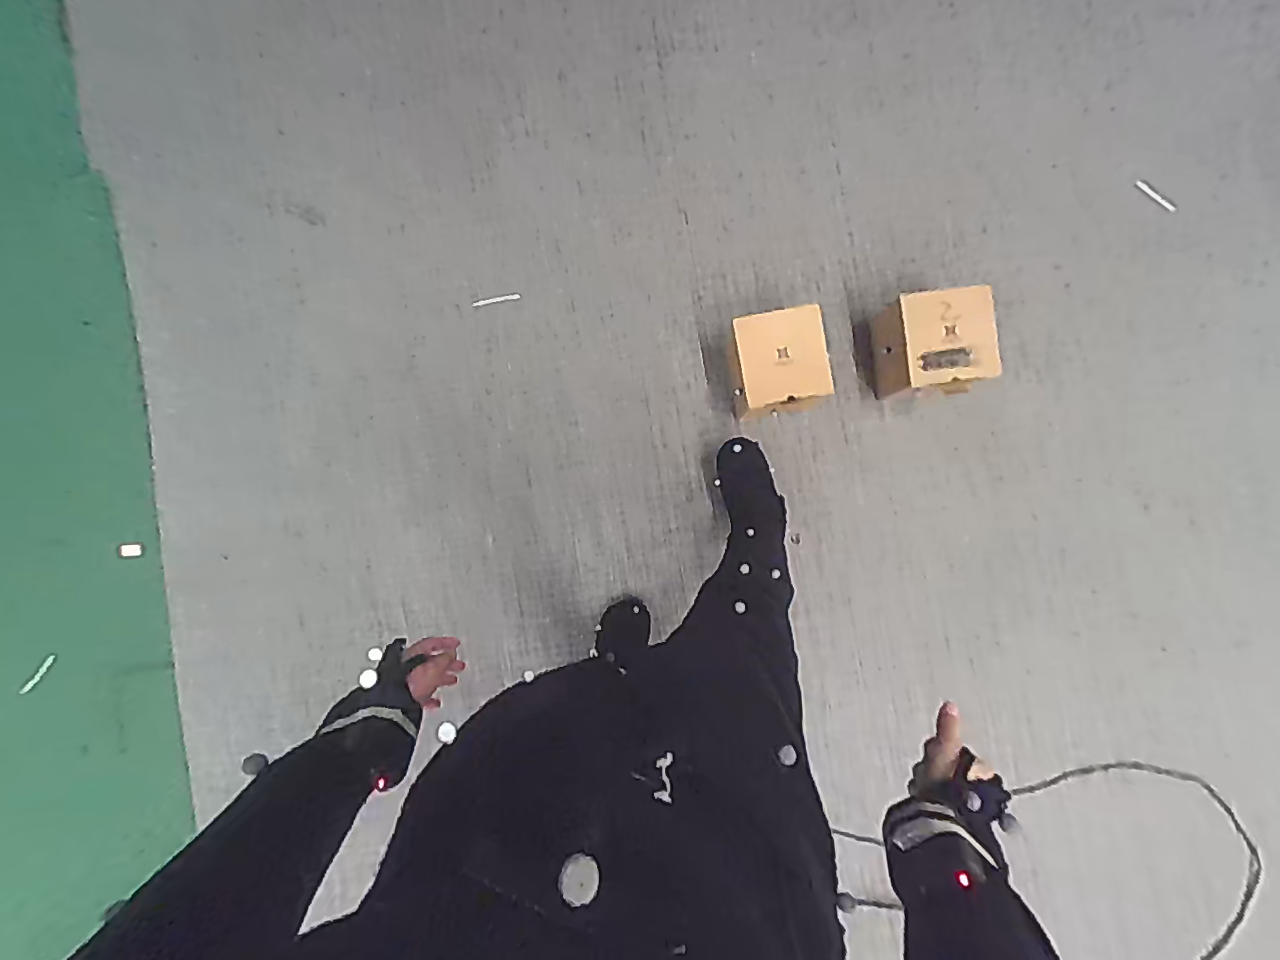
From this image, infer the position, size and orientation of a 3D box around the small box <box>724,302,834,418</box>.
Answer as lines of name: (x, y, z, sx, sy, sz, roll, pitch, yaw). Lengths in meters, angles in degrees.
small box: (0.269, -0.233, 1.086, 0.168, 0.176, 0.179, -10, 89, 3)
